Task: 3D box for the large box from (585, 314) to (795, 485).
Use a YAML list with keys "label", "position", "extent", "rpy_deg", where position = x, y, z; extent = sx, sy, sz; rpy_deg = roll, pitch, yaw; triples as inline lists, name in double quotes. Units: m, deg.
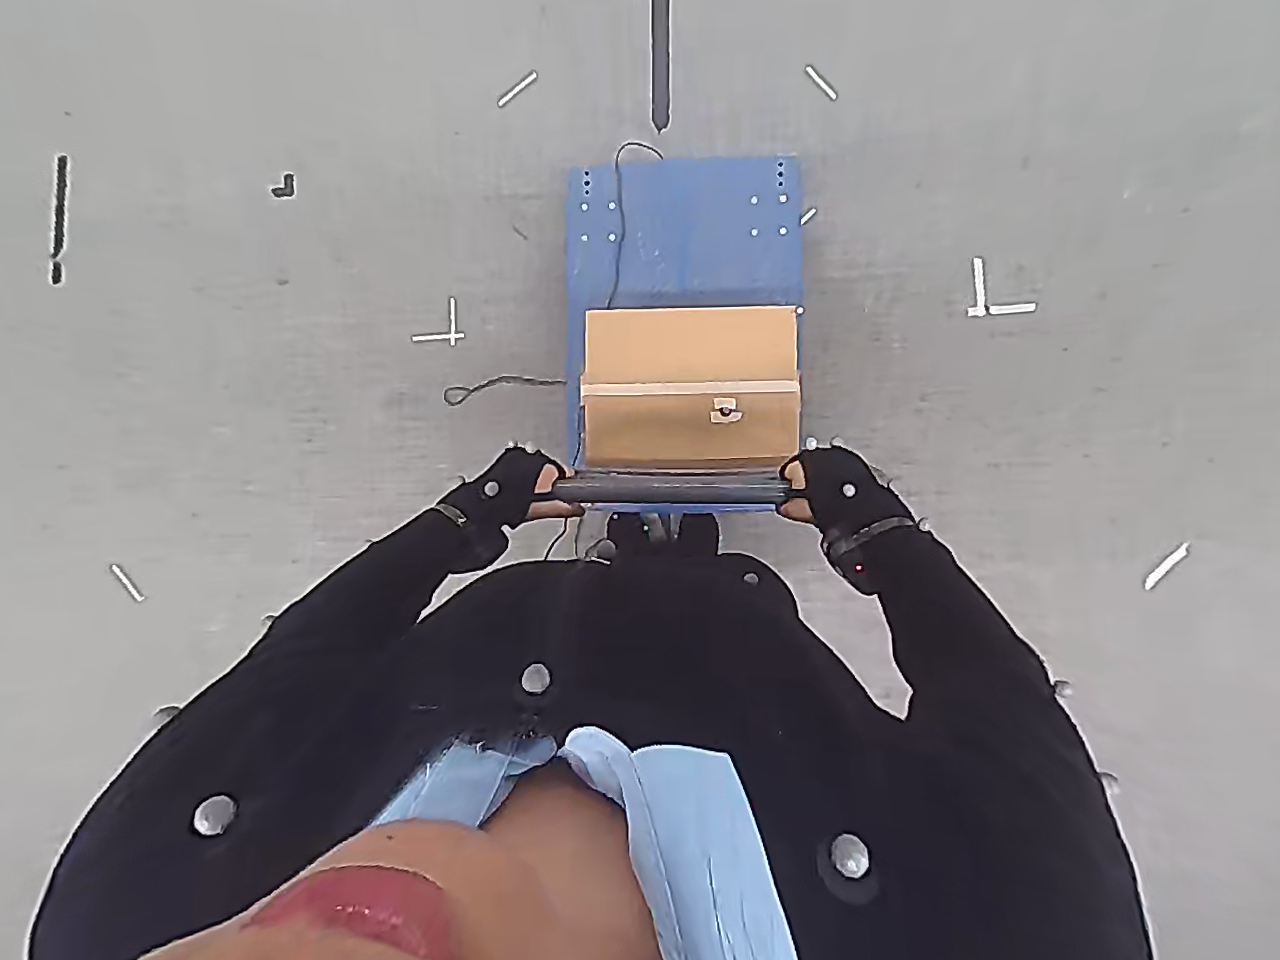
- label: "large box"
  position: [0.099, -0.153, 1.179]
  extent: [0.408, 0.320, 0.320]
  rpy_deg: [0, 88, 3]
